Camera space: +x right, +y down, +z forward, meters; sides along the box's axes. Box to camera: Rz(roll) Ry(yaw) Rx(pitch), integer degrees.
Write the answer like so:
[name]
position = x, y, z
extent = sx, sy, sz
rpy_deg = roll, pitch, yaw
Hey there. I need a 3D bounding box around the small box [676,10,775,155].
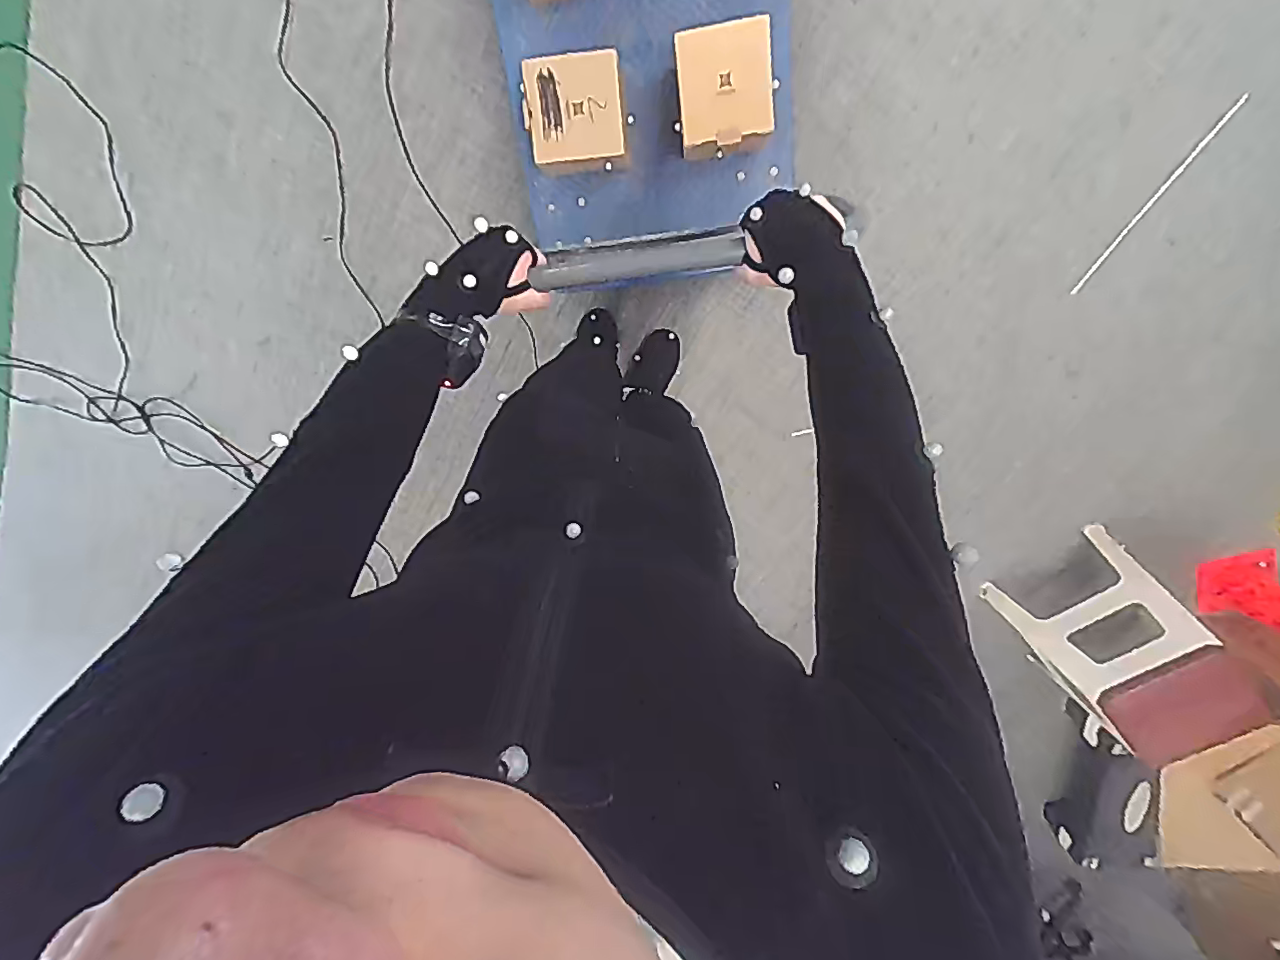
[small box]
position = 0.158, -0.741, 1.029
extent = 0.168, 0.176, 0.179
rpy_deg = -6, 114, 7
